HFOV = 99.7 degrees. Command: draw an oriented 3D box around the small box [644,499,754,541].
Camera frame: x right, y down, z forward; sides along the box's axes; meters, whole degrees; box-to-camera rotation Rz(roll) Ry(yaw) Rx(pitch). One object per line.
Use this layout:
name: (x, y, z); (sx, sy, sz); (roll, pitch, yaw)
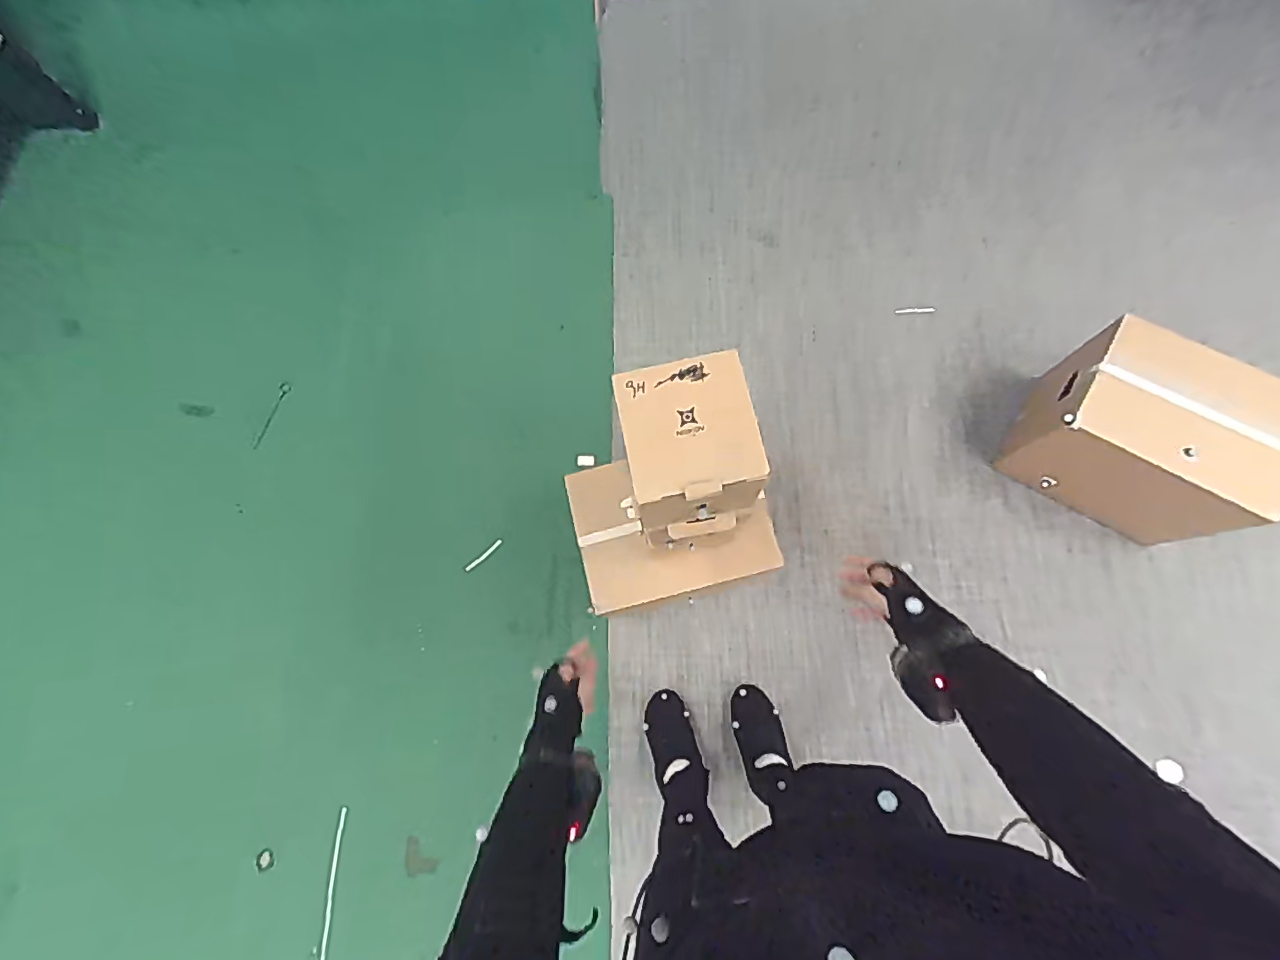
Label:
small box: (0.085, -0.001, 0.897); (0.168, 0.176, 0.179); (-10, 74, 2)

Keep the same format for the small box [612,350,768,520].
small box: (0.066, -0.048, 0.740); (0.168, 0.176, 0.179); (-12, 75, 1)

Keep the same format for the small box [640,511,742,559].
small box: (0.090, 0.051, 1.052); (0.179, 0.176, 0.168); (-12, 74, 1)

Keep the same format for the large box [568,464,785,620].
large box: (0.086, 0.128, 1.286); (0.408, 0.320, 0.320); (-16, 72, 2)
